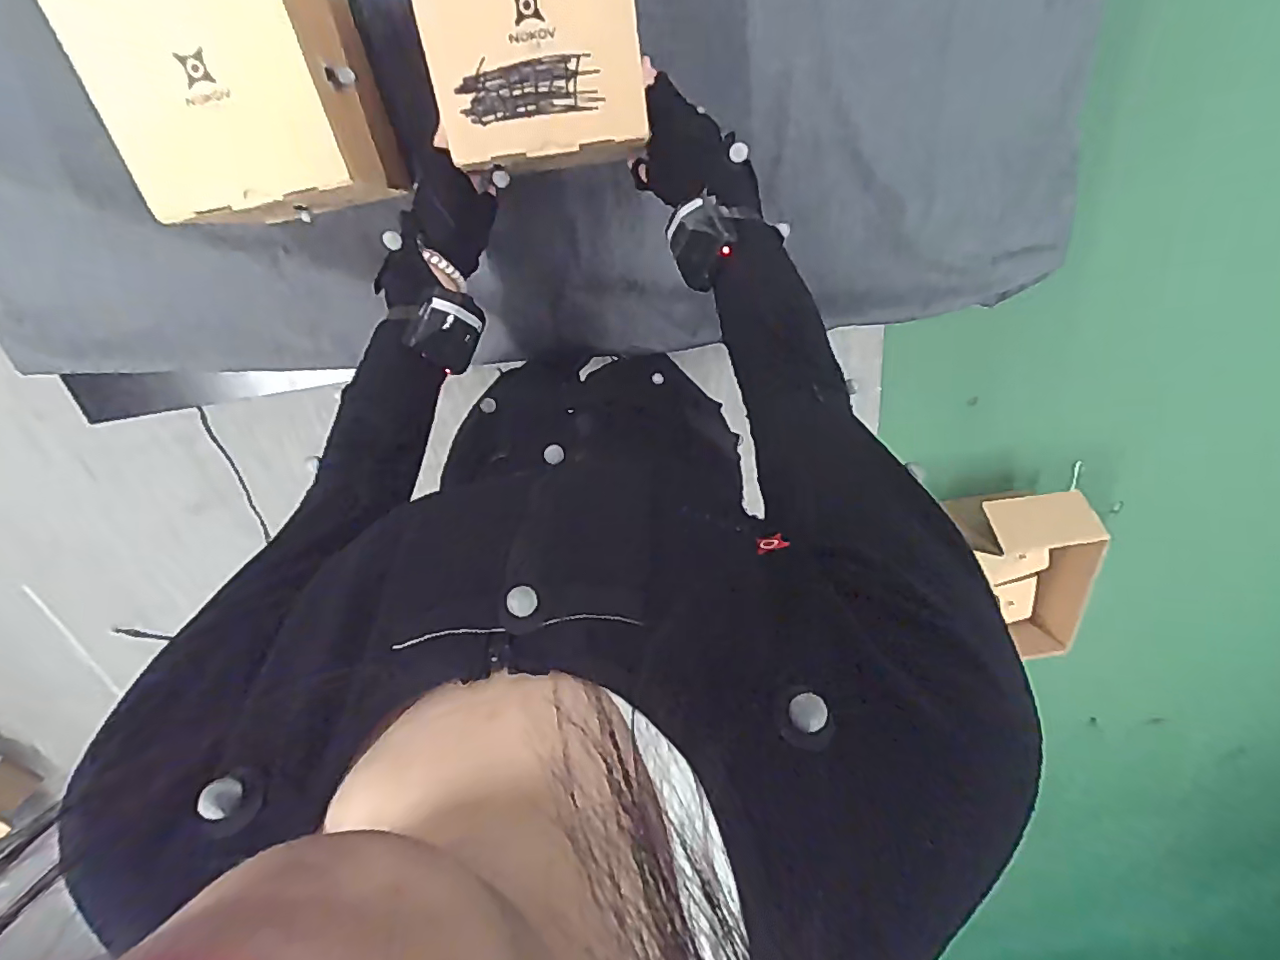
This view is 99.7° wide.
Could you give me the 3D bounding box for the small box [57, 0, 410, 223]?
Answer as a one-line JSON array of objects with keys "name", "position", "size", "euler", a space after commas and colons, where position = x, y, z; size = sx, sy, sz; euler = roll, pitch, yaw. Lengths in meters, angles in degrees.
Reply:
[{"name": "small box", "position": [-0.337, -0.342, 0.490], "size": [0.168, 0.176, 0.179], "euler": [-12, 117, 0]}]
